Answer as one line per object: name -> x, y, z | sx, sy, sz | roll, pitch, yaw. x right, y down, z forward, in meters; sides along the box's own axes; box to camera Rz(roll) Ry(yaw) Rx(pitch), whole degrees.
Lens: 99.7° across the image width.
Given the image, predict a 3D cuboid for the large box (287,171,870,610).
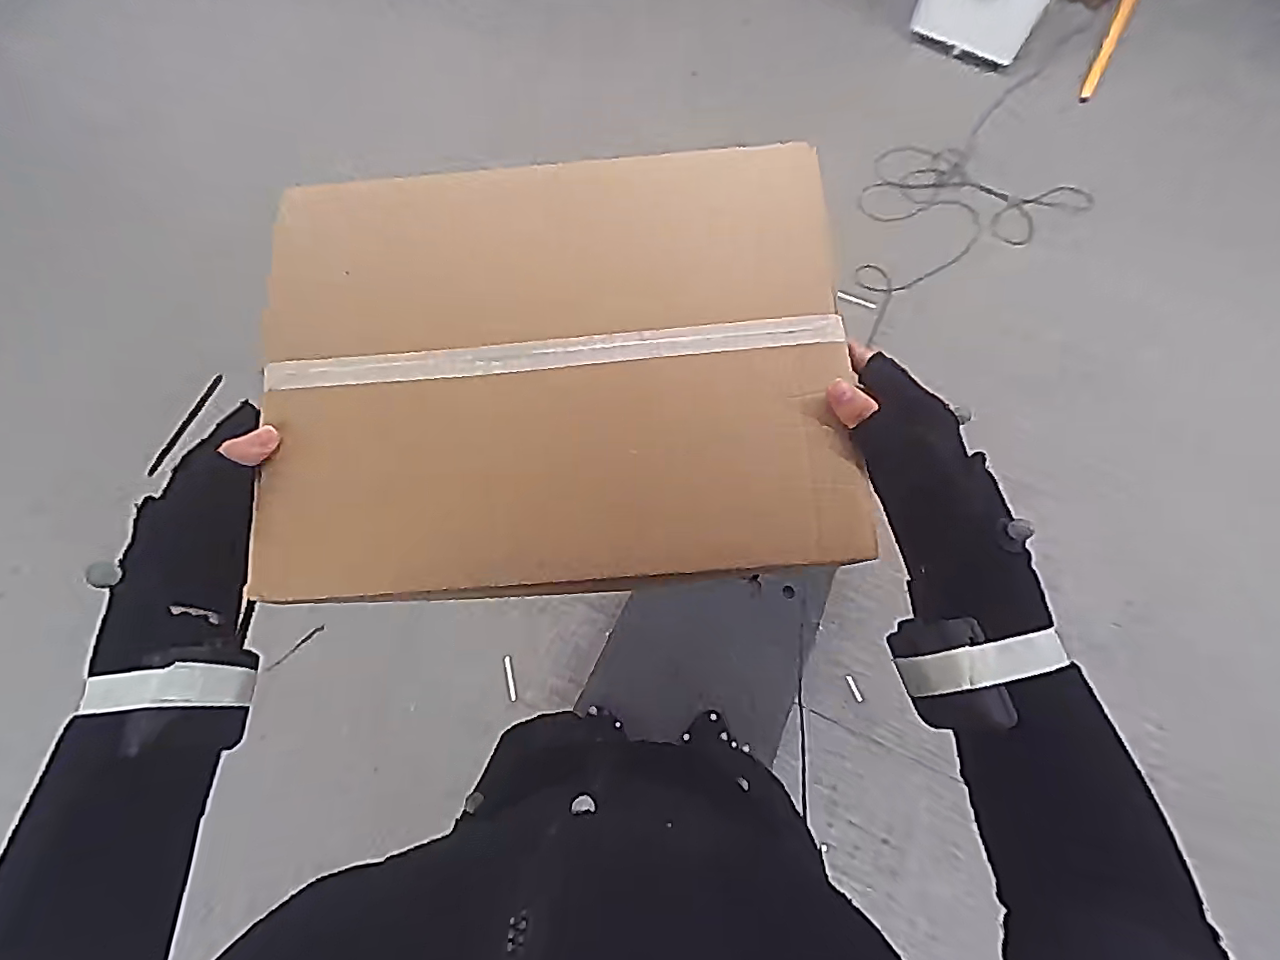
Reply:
large box -> -0.046, -0.046, 0.538 | 0.408, 0.320, 0.320 | -4, 77, 2
